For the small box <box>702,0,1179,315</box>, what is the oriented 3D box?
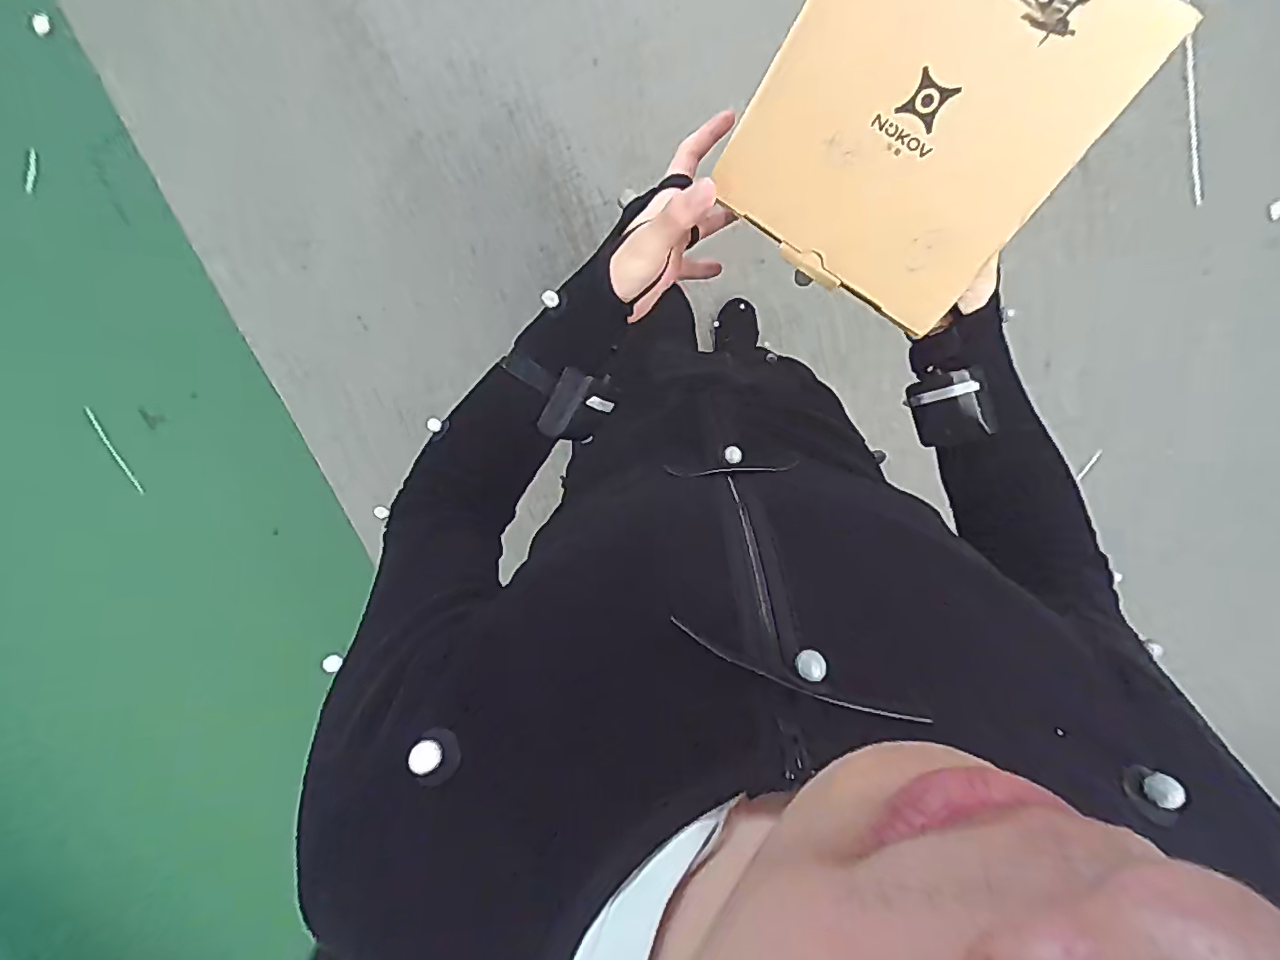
[{"bbox_3d":[0.170,-0.236,0.362,0.168,0.176,0.179,35,119,3],"label":"small box"}]
